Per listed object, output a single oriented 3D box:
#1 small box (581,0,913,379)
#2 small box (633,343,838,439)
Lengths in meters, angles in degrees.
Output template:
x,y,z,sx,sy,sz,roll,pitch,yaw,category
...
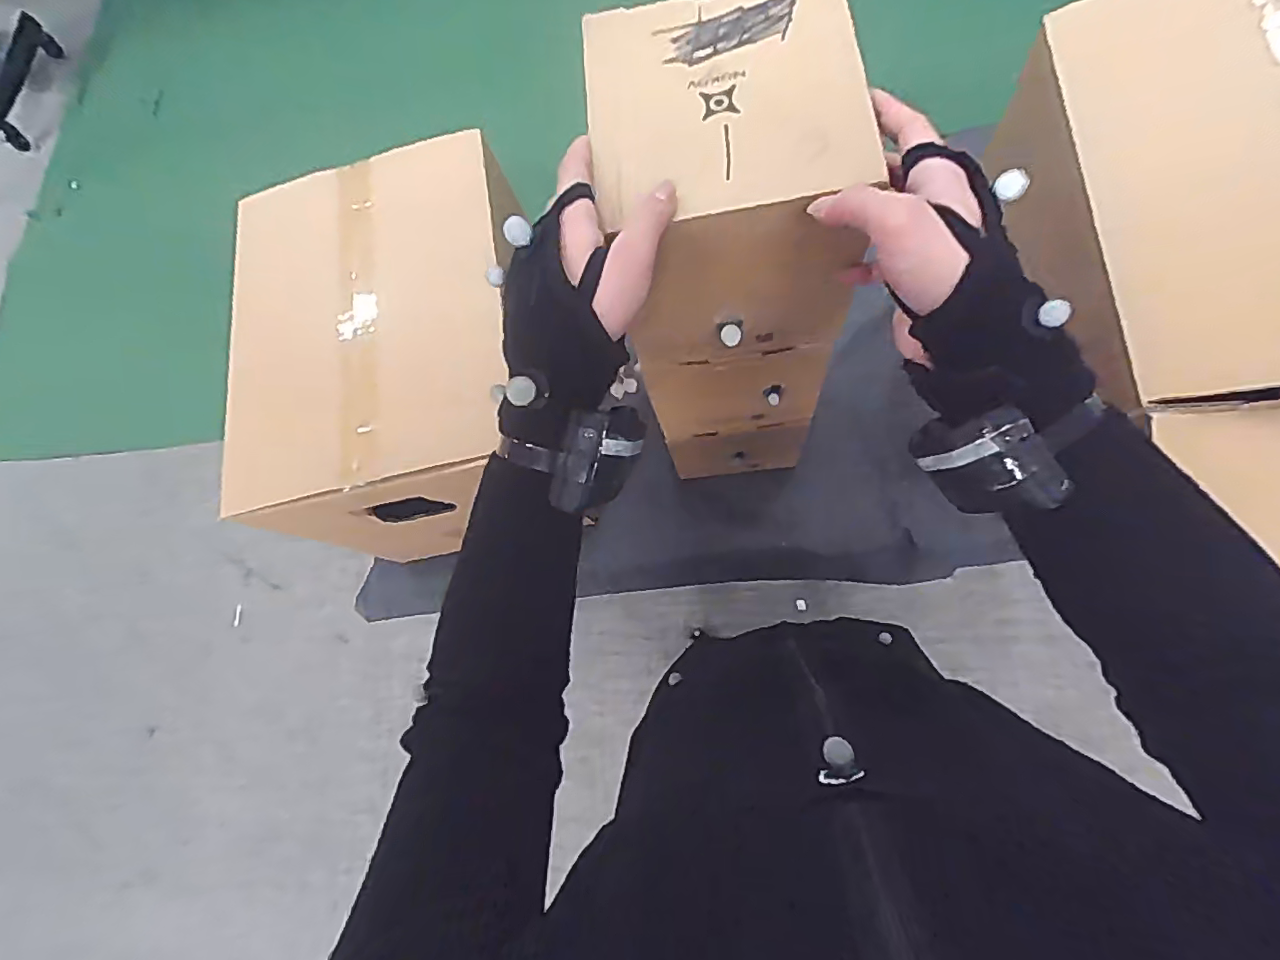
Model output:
x,y,z,sx,sy,sz,roll,pitch,yaw,category
0.061,-0.191,0.372,0.168,0.176,0.179,-6,75,8,small box
0.085,-0.148,0.529,0.168,0.176,0.179,-7,73,8,small box
